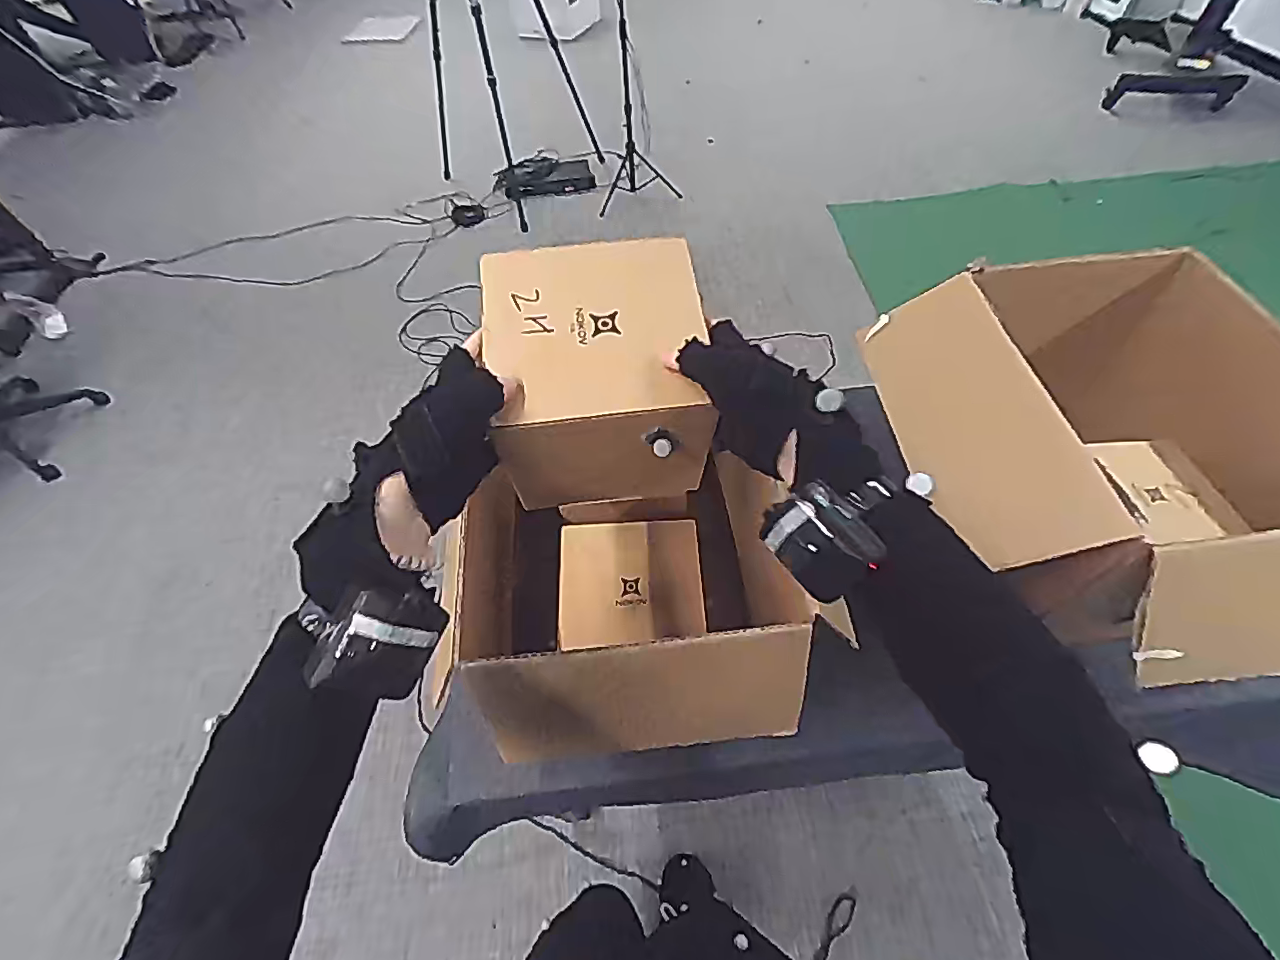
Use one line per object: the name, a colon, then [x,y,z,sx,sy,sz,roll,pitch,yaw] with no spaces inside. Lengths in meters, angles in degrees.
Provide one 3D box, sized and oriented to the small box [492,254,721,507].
small box: [-0.035,-0.085,0.511,0.179,0.176,0.168,-6,65,-5]
